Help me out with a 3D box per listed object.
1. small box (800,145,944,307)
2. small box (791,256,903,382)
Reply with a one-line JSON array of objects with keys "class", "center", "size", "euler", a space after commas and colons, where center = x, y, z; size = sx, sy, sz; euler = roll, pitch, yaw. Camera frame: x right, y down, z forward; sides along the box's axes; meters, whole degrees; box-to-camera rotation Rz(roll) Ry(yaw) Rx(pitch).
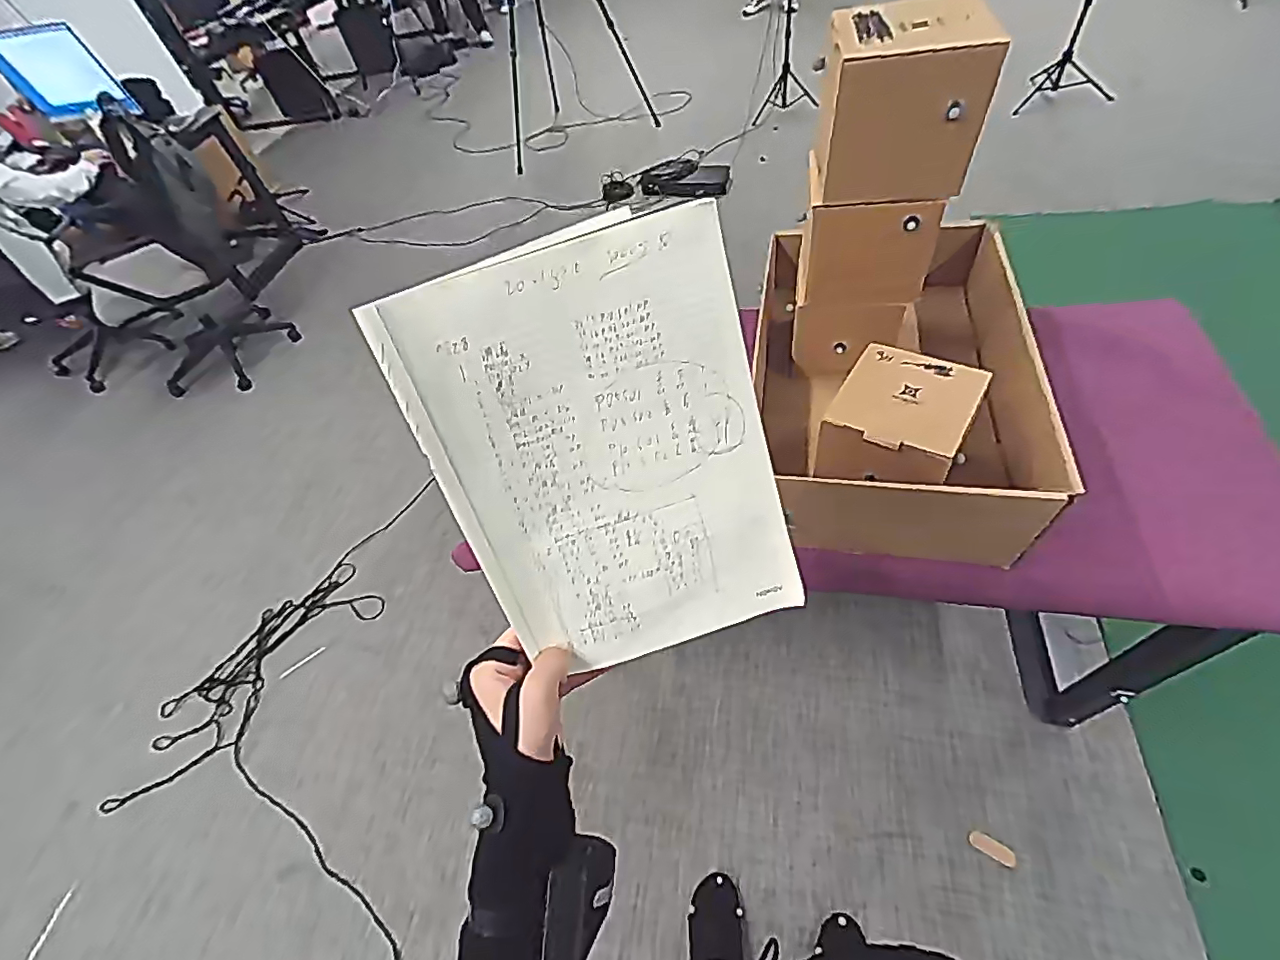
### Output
[{"class": "small box", "center": [0.342, -0.384, 0.835], "size": [0.179, 0.176, 0.168], "euler": [2, 55, 12]}, {"class": "small box", "center": [0.362, -0.293, 0.967], "size": [0.168, 0.176, 0.179], "euler": [4, 56, 14]}]
